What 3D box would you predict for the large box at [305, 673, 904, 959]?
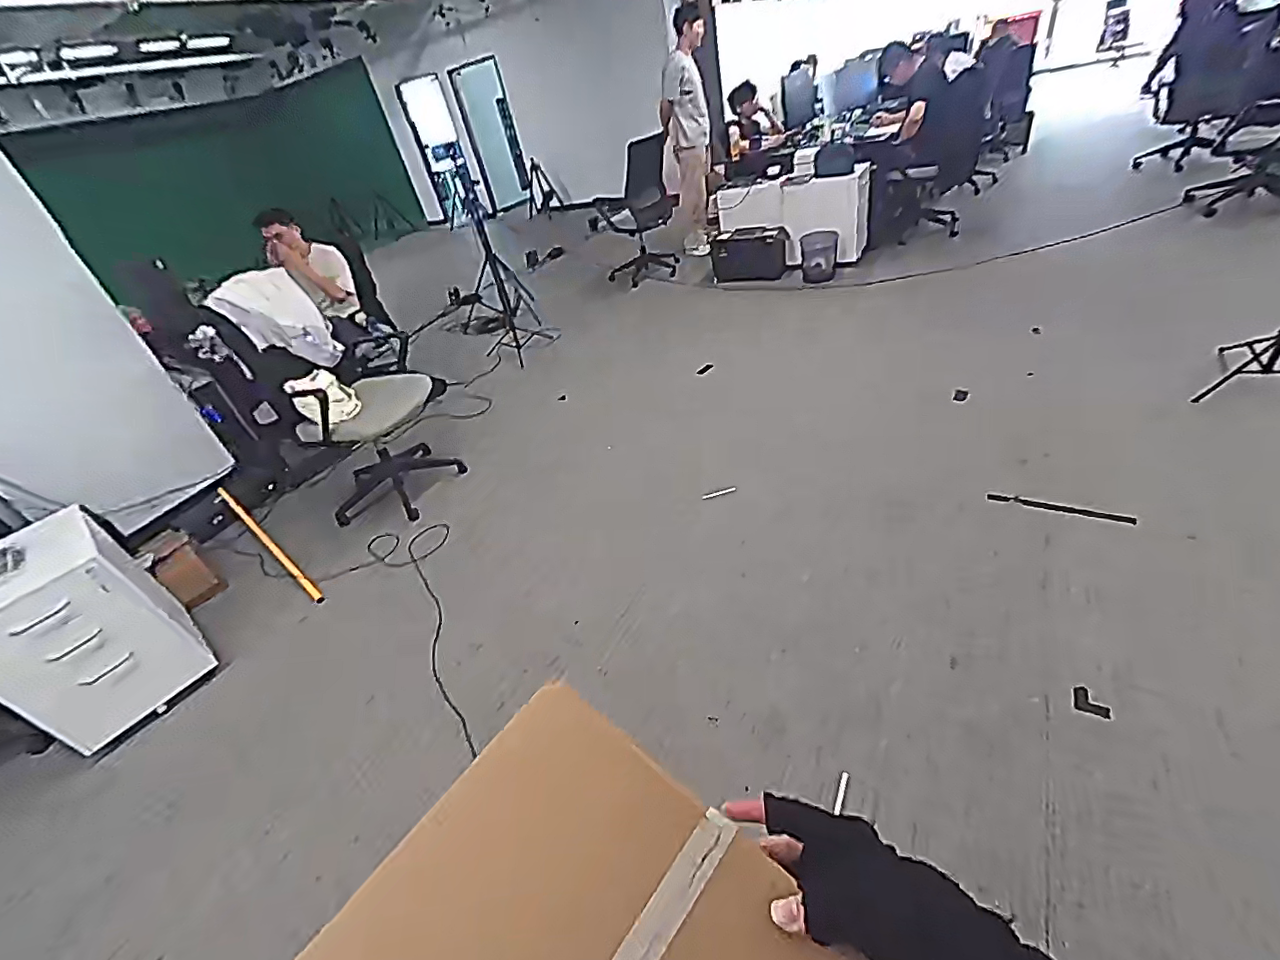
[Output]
[{"bbox_3d":[-0.058,0.439,0.386,0.320,0.320,0.408,31,60,26],"label":"large box"}]
